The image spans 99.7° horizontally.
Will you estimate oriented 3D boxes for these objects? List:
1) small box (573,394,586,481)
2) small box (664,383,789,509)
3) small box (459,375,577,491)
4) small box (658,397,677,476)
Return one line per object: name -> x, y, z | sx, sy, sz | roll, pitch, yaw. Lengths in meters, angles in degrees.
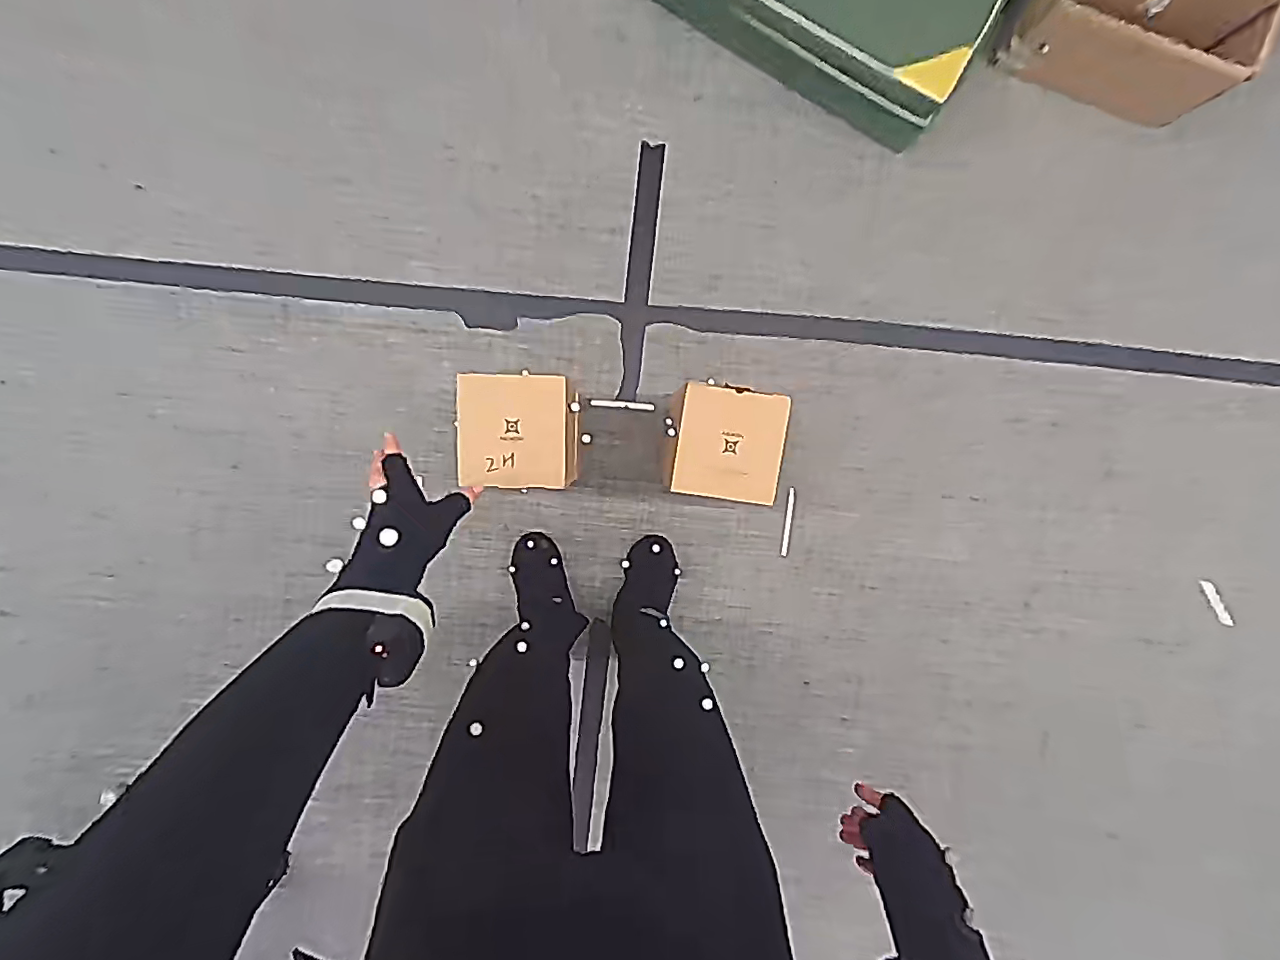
small box -> -0.203, -0.088, 1.072 | 0.179, 0.176, 0.168 | 3, 95, -3
small box -> 0.137, -0.060, 0.925 | 0.168, 0.176, 0.179 | 9, 96, -2
small box -> -0.197, -0.078, 0.908 | 0.168, 0.176, 0.179 | 2, 95, -2
small box -> 0.140, -0.079, 1.087 | 0.179, 0.176, 0.168 | 9, 94, -4
